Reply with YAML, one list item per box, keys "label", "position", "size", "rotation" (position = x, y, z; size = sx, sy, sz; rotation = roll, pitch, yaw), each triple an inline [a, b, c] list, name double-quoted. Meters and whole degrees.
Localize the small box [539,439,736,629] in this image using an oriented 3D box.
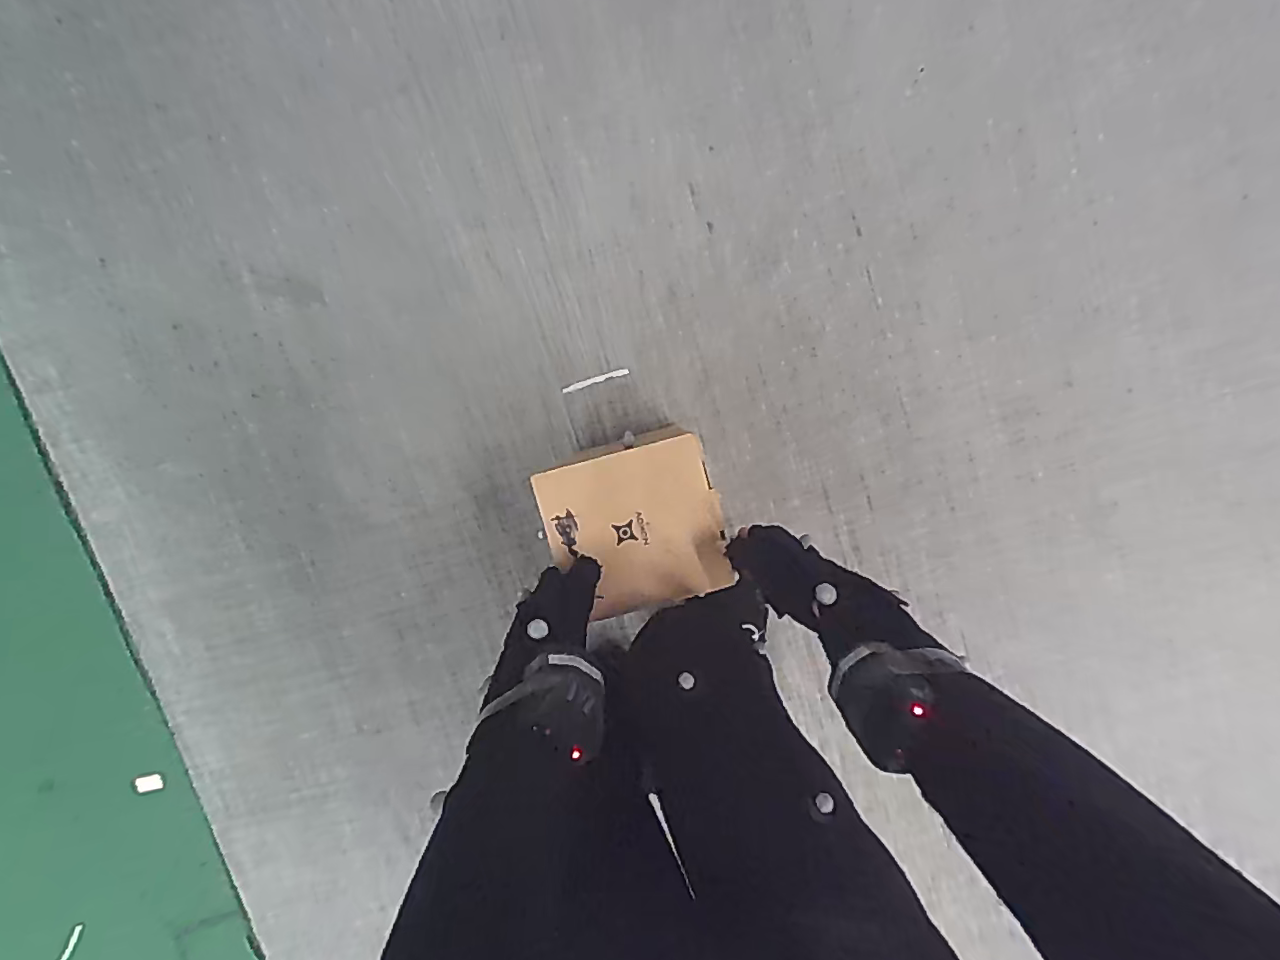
- label: "small box"
  position: [-0.003, 0.049, 0.635]
  size: [0.179, 0.176, 0.168]
  rotation: [-15, 95, 1]
